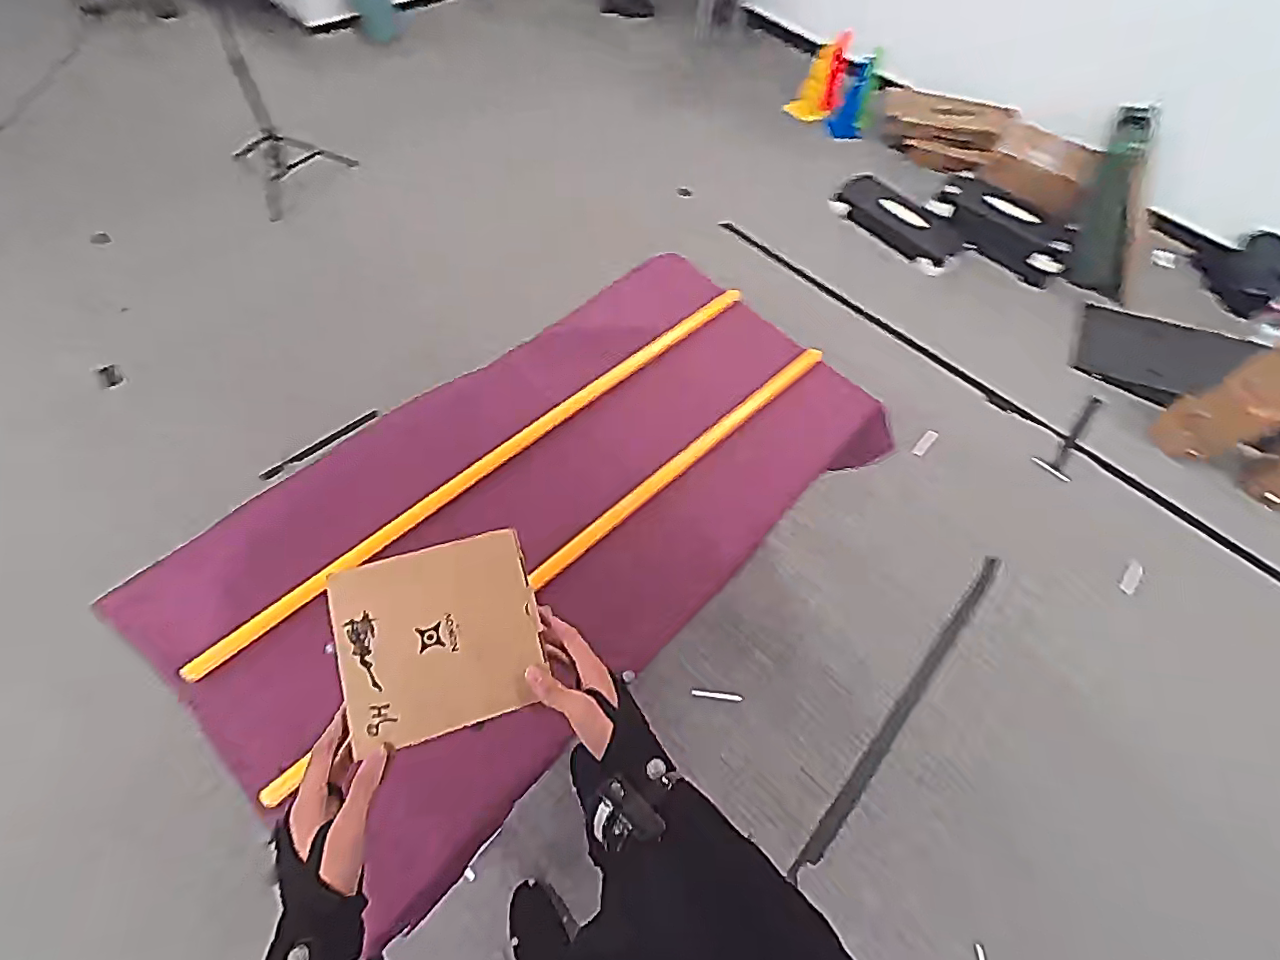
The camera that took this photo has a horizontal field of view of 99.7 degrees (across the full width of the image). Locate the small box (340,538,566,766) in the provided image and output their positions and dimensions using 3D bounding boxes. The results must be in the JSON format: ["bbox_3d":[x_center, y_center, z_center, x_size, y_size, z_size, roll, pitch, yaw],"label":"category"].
[{"bbox_3d":[-0.184,0.170,0.566,0.179,0.176,0.168,-13,75,-14],"label":"small box"}]
